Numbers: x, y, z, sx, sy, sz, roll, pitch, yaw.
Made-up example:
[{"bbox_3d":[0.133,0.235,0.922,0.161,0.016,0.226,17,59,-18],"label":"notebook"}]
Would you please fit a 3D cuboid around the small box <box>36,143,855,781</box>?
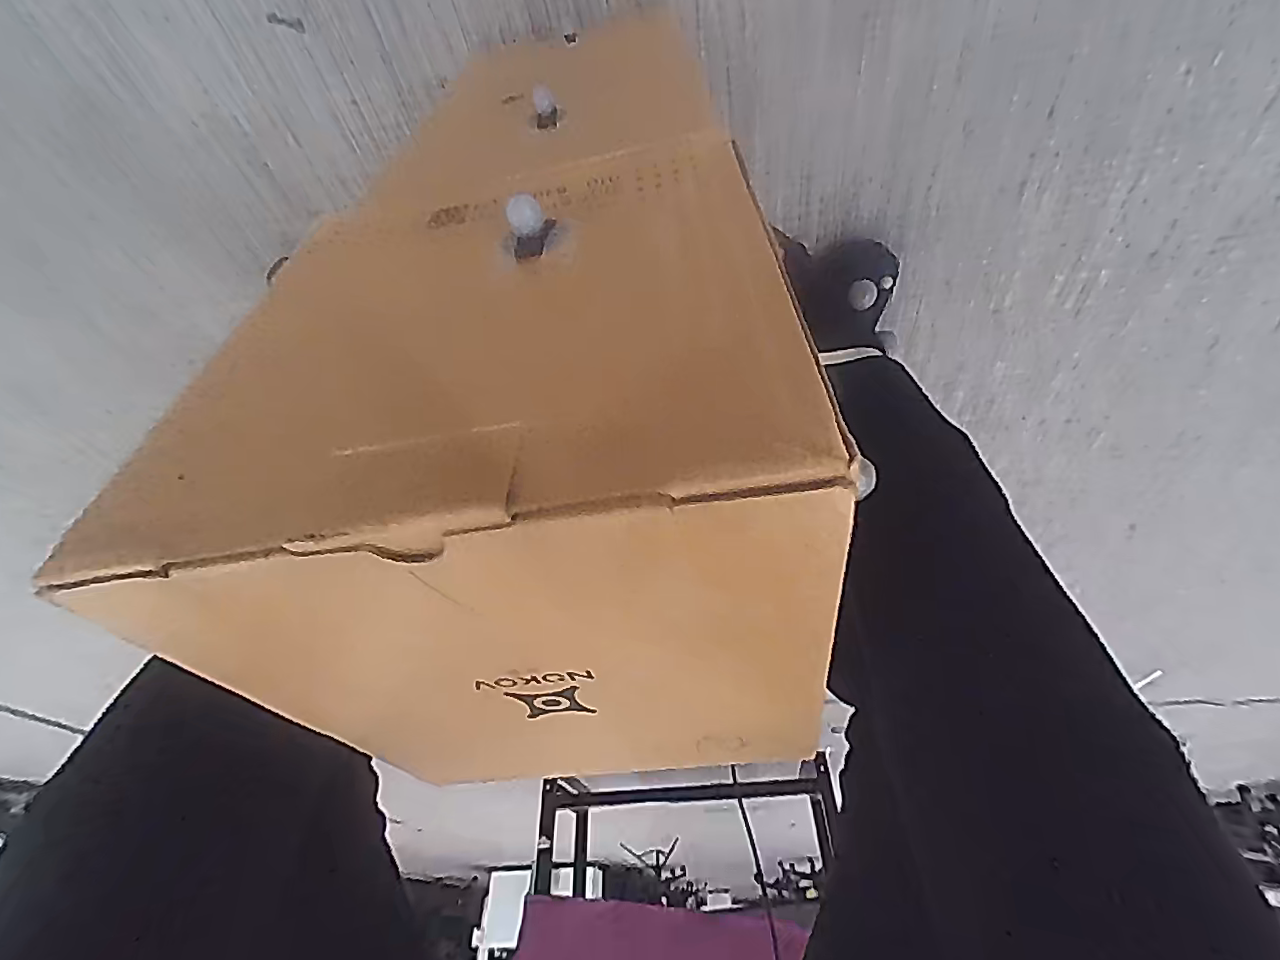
[{"bbox_3d":[-0.029,0.003,0.214,0.168,0.176,0.179,-8,137,8],"label":"small box"}]
